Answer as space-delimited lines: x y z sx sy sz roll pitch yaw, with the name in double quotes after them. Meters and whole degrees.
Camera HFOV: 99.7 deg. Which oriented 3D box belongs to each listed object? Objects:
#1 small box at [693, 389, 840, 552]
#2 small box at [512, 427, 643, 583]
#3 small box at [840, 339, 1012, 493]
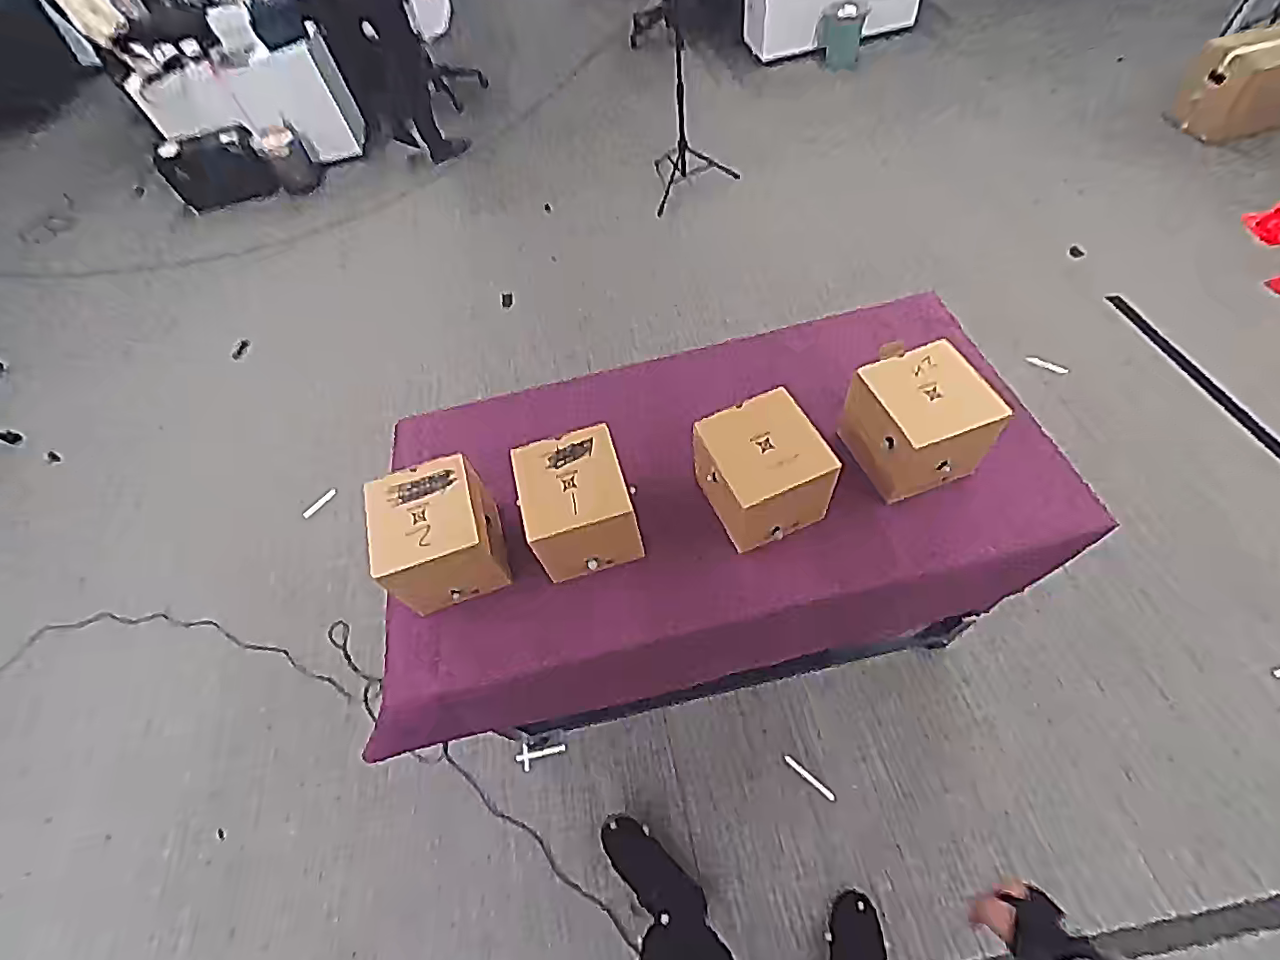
0.199 -0.012 0.896 0.168 0.176 0.179 -23 57 -5 "small box"
-0.102 0.046 0.904 0.168 0.176 0.179 -17 57 -2 "small box"
0.462 -0.097 0.907 0.168 0.176 0.179 -19 56 -4 "small box"
